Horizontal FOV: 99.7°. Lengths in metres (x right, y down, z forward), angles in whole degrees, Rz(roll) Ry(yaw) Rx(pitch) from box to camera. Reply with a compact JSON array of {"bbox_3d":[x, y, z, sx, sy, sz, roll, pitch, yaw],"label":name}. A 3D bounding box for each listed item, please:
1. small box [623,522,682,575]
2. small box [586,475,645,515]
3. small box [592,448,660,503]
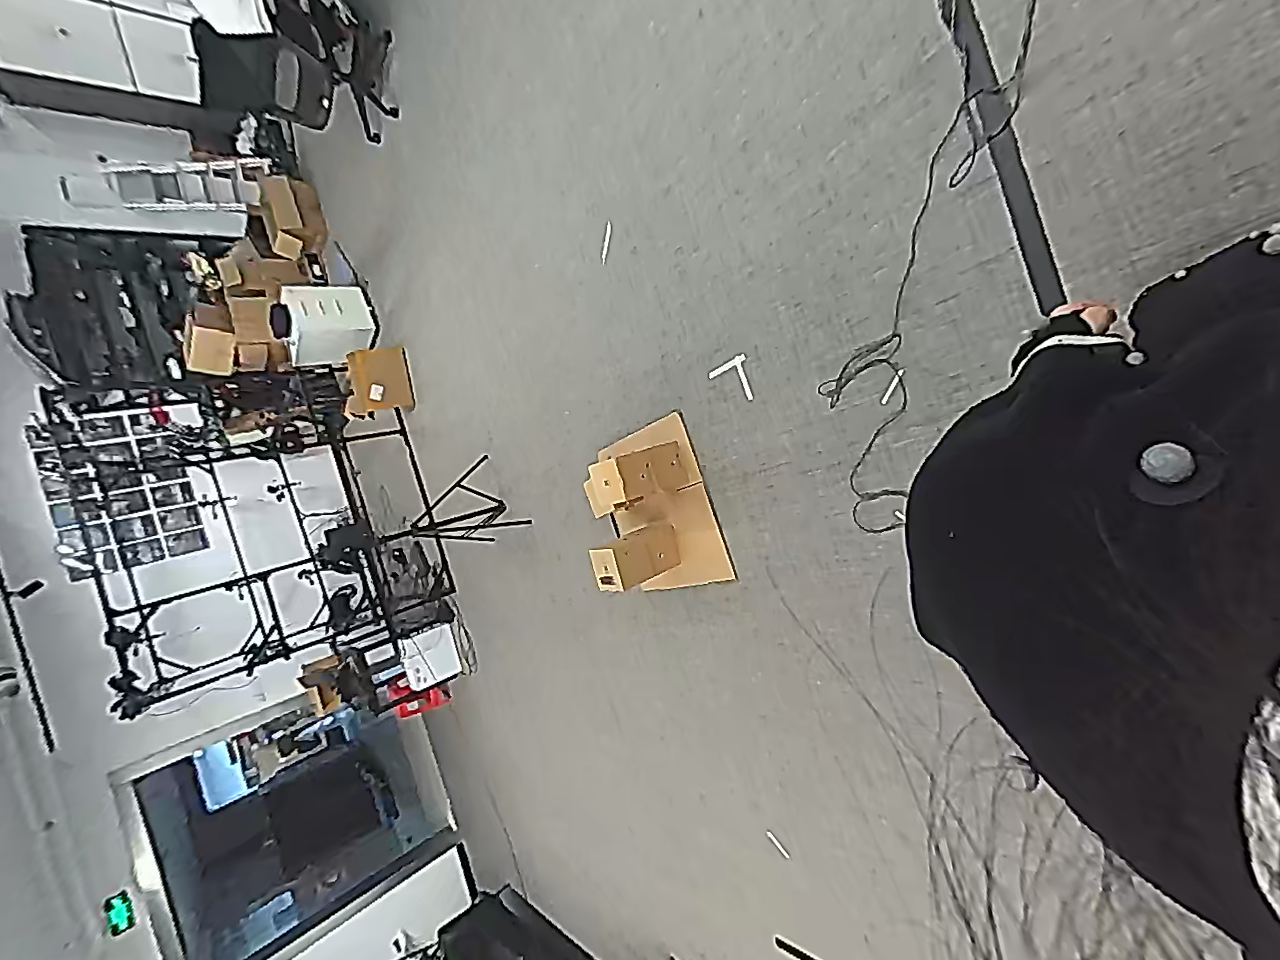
[{"bbox_3d":[0.056,0.289,2.297,0.168,0.176,0.179,-6,100,50],"label":"small box"},{"bbox_3d":[-0.107,0.038,2.403,0.168,0.176,0.179,-27,83,51],"label":"small box"},{"bbox_3d":[-0.052,-0.017,2.060,0.179,0.176,0.168,-15,92,49],"label":"small box"}]
